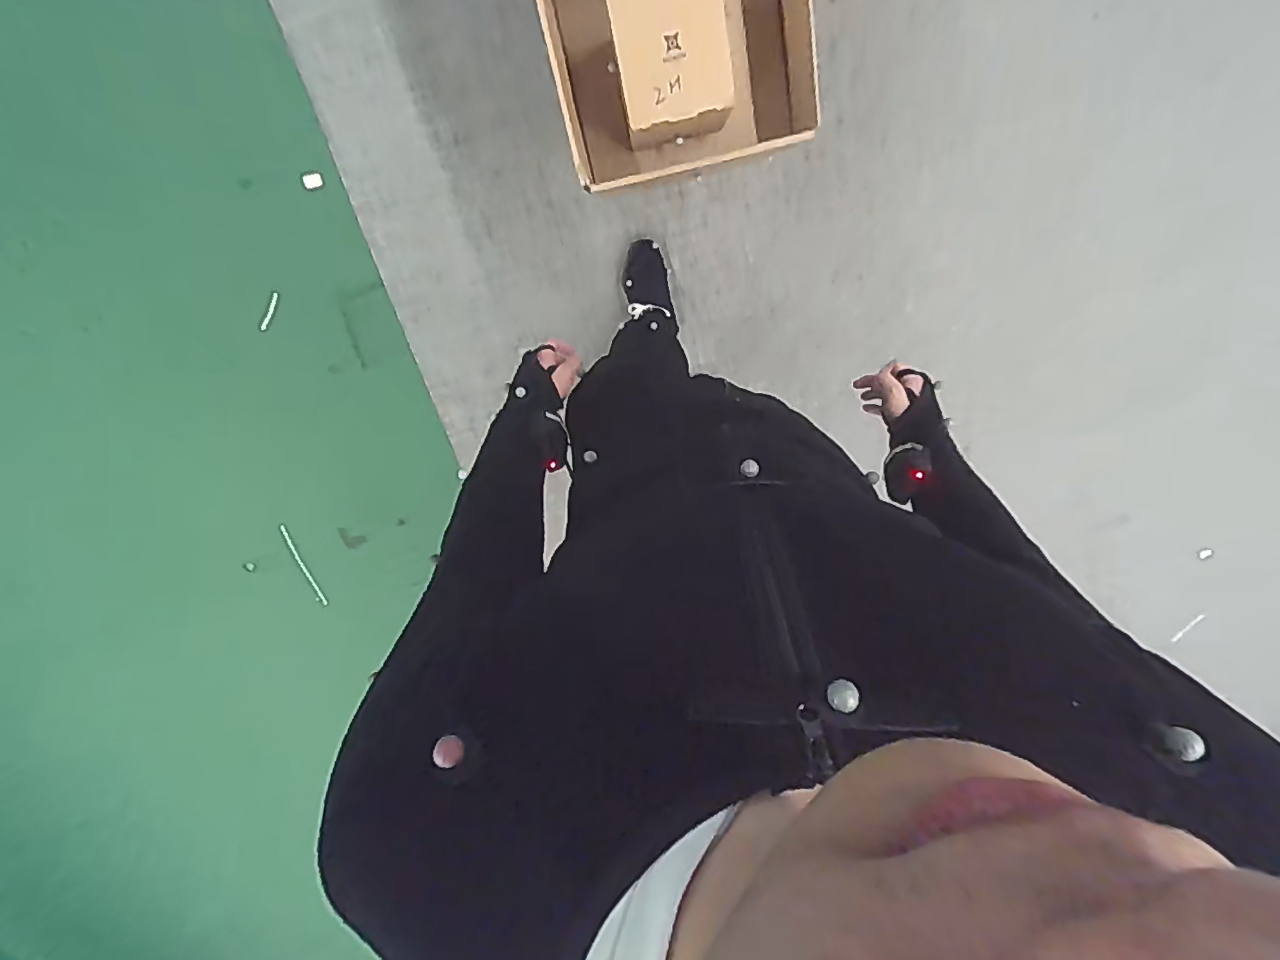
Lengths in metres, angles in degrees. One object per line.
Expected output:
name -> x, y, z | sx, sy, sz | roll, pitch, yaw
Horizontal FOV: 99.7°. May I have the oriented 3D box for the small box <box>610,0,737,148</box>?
small box -> 0.051, -0.661, 0.862 | 0.168, 0.176, 0.179 | -11, 111, 6
